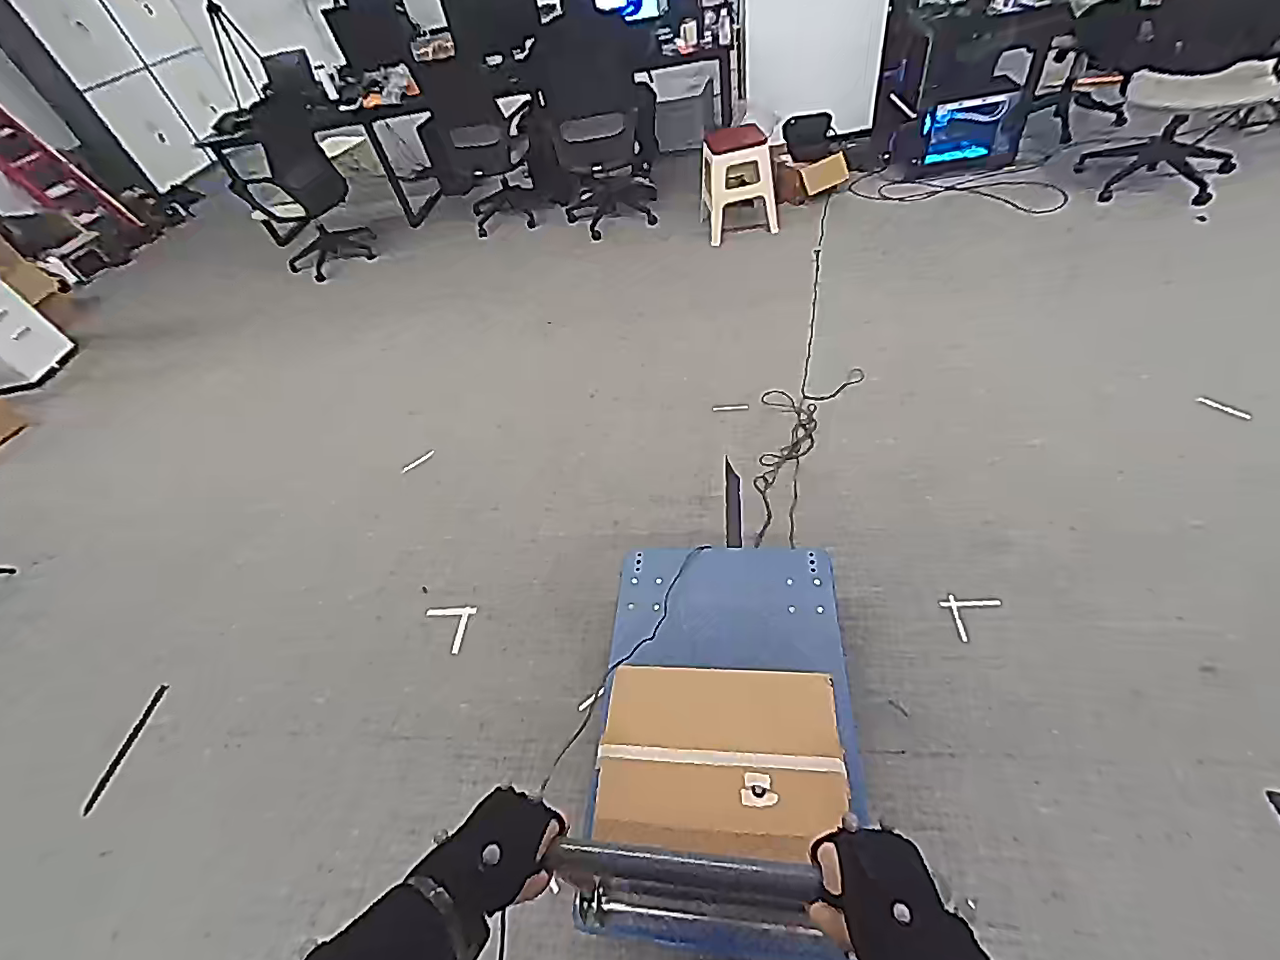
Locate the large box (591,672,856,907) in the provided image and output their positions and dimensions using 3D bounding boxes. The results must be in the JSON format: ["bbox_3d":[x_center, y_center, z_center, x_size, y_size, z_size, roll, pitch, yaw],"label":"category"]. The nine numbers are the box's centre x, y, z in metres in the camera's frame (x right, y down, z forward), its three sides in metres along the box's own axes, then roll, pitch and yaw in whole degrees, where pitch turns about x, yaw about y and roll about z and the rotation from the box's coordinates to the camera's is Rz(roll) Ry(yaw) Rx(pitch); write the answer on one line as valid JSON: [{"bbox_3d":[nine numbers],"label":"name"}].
[{"bbox_3d":[0.151,0.576,1.013,0.408,0.320,0.320,-2,48,11],"label":"large box"}]
